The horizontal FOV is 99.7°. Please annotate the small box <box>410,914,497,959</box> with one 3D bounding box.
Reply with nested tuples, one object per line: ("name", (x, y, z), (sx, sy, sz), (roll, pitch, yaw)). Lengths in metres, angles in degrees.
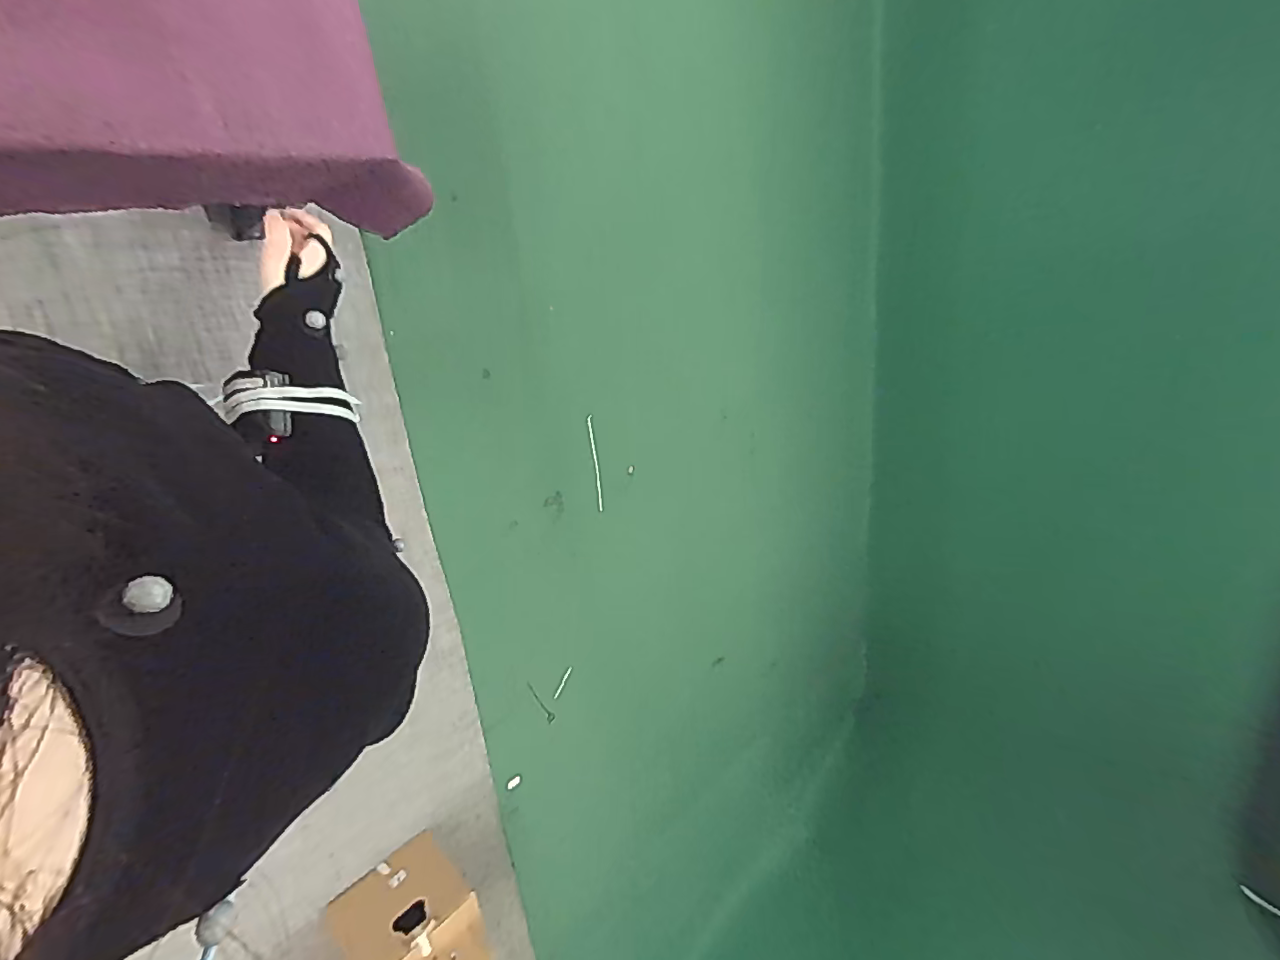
("small box", (-0.496, 1.330, 1.444), (0.168, 0.176, 0.179), (-12, 107, -46))
